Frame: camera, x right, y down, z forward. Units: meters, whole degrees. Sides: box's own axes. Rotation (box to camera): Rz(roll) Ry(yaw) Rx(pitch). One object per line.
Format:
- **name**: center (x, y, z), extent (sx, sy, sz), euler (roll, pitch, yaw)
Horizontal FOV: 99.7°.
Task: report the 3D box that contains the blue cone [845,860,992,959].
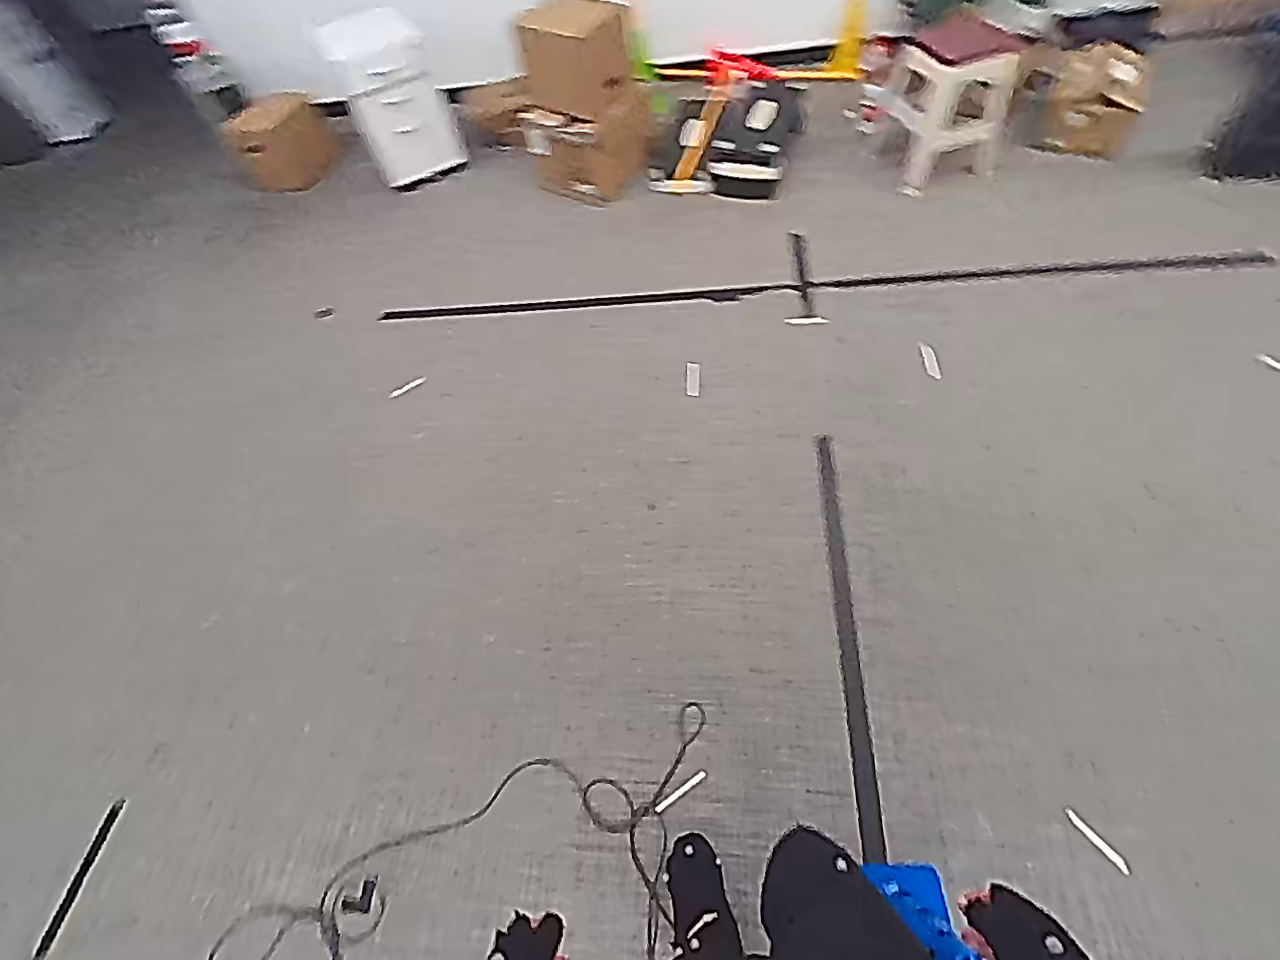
- **blue cone**: center (0.501, 0.791, 0.941), extent (0.192, 0.380, 0.193), euler (-3, 58, 5)
